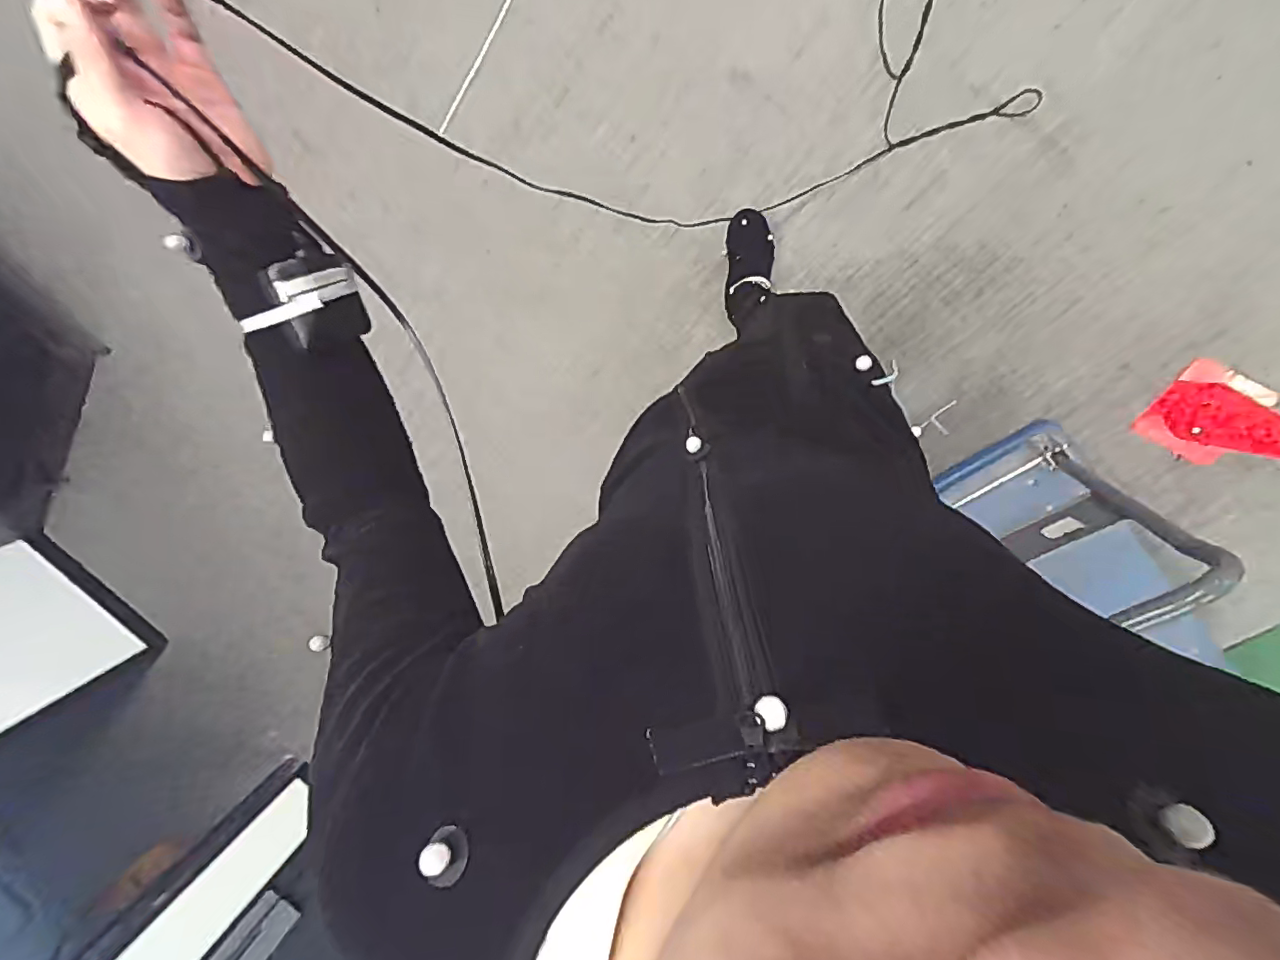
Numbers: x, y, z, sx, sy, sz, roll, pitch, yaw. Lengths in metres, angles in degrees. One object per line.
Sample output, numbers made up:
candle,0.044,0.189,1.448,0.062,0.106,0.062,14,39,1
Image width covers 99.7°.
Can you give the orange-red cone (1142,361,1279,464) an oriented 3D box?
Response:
orange-red cone,1.279,-0.097,1.102,0.198,0.360,0.199,30,114,3
